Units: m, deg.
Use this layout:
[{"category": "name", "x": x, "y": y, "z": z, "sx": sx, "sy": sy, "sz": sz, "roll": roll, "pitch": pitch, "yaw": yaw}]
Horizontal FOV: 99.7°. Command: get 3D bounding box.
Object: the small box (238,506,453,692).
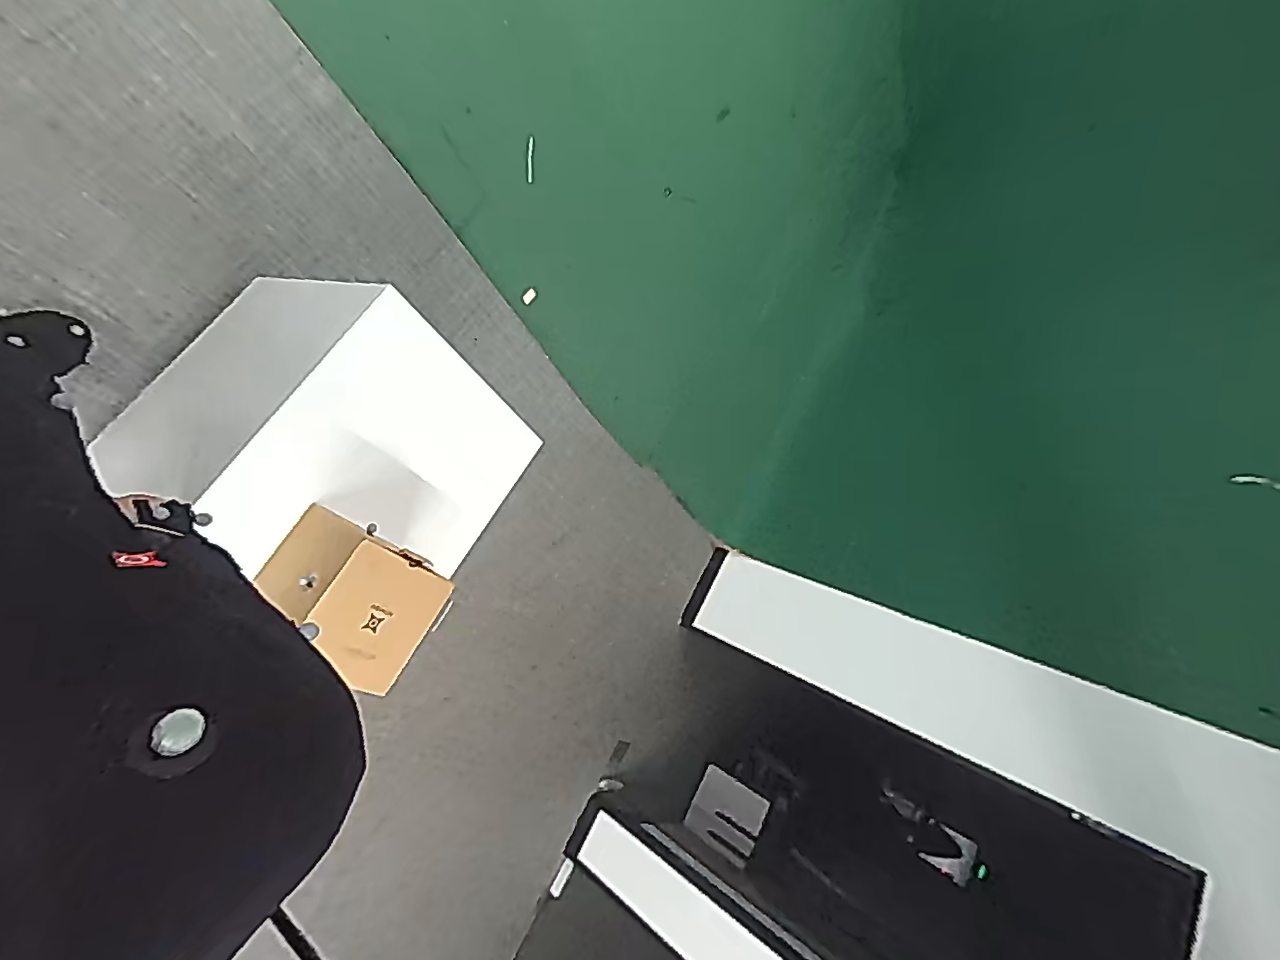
[{"category": "small box", "x": -0.406, "y": 0.159, "z": 0.747, "sx": 0.179, "sy": 0.176, "sz": 0.168, "roll": -60, "pitch": 141, "yaw": -16}]
